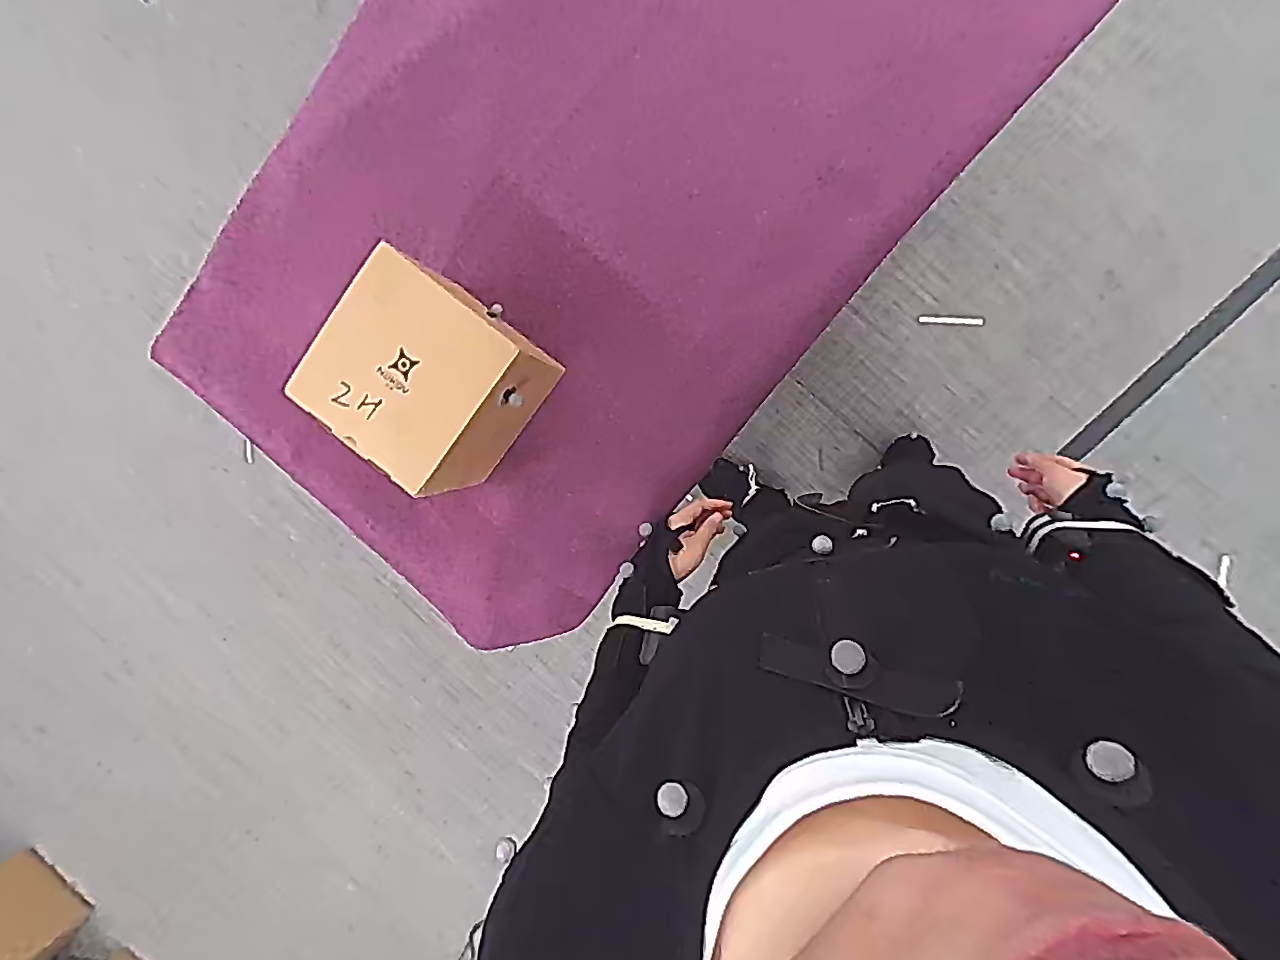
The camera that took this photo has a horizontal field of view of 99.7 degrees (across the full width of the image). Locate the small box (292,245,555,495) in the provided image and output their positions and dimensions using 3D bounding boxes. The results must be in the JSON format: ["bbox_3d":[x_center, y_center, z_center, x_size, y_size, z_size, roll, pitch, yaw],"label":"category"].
[{"bbox_3d":[-0.211,-0.108,0.583,0.168,0.176,0.179,39,98,3],"label":"small box"}]
